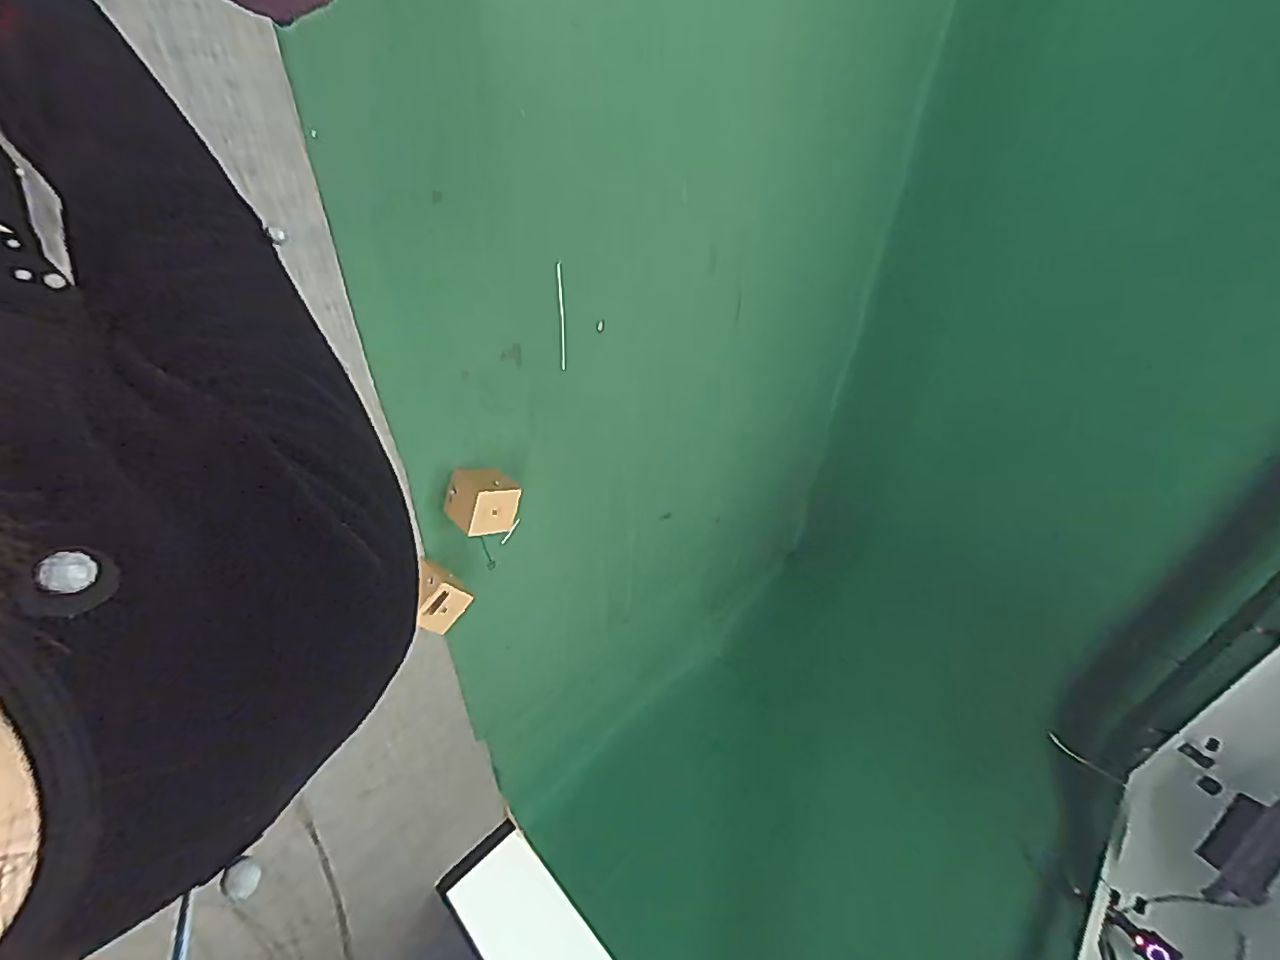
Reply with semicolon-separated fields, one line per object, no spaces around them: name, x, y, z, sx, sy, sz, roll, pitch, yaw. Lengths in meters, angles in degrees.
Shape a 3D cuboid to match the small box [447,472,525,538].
small box;-0.530;0.079;1.857;0.179;0.176;0.168;-3;118;-50
